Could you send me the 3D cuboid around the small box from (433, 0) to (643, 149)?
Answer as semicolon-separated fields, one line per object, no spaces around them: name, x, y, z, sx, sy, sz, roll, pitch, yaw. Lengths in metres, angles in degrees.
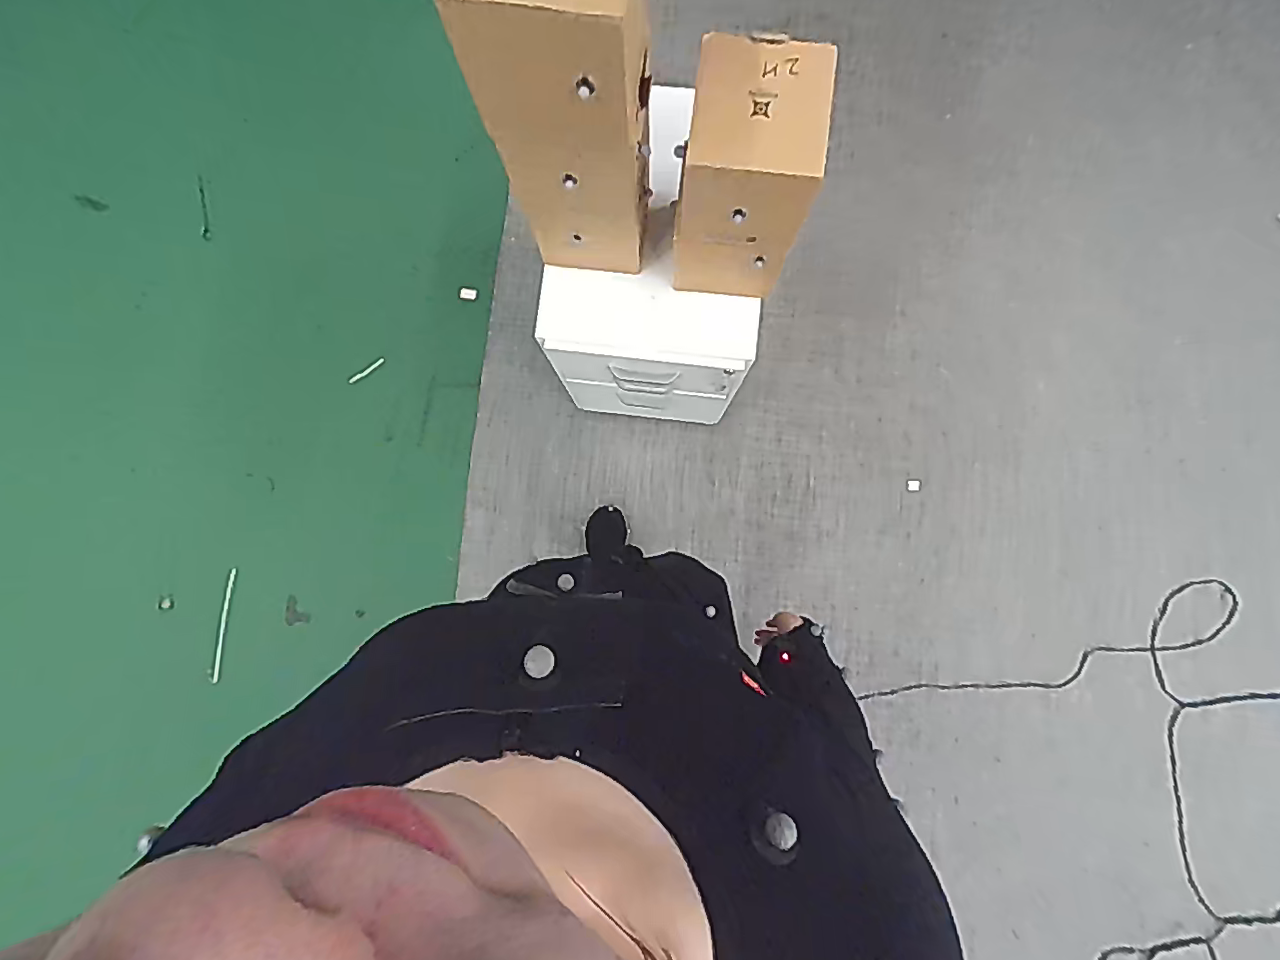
small box;-0.091;-0.488;0.573;0.179;0.176;0.168;7;83;2

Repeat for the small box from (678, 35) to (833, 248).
small box;0.144;-0.439;0.728;0.168;0.176;0.179;8;84;2

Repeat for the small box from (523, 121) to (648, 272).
small box;-0.082;-0.467;0.901;0.179;0.176;0.168;6;85;0
